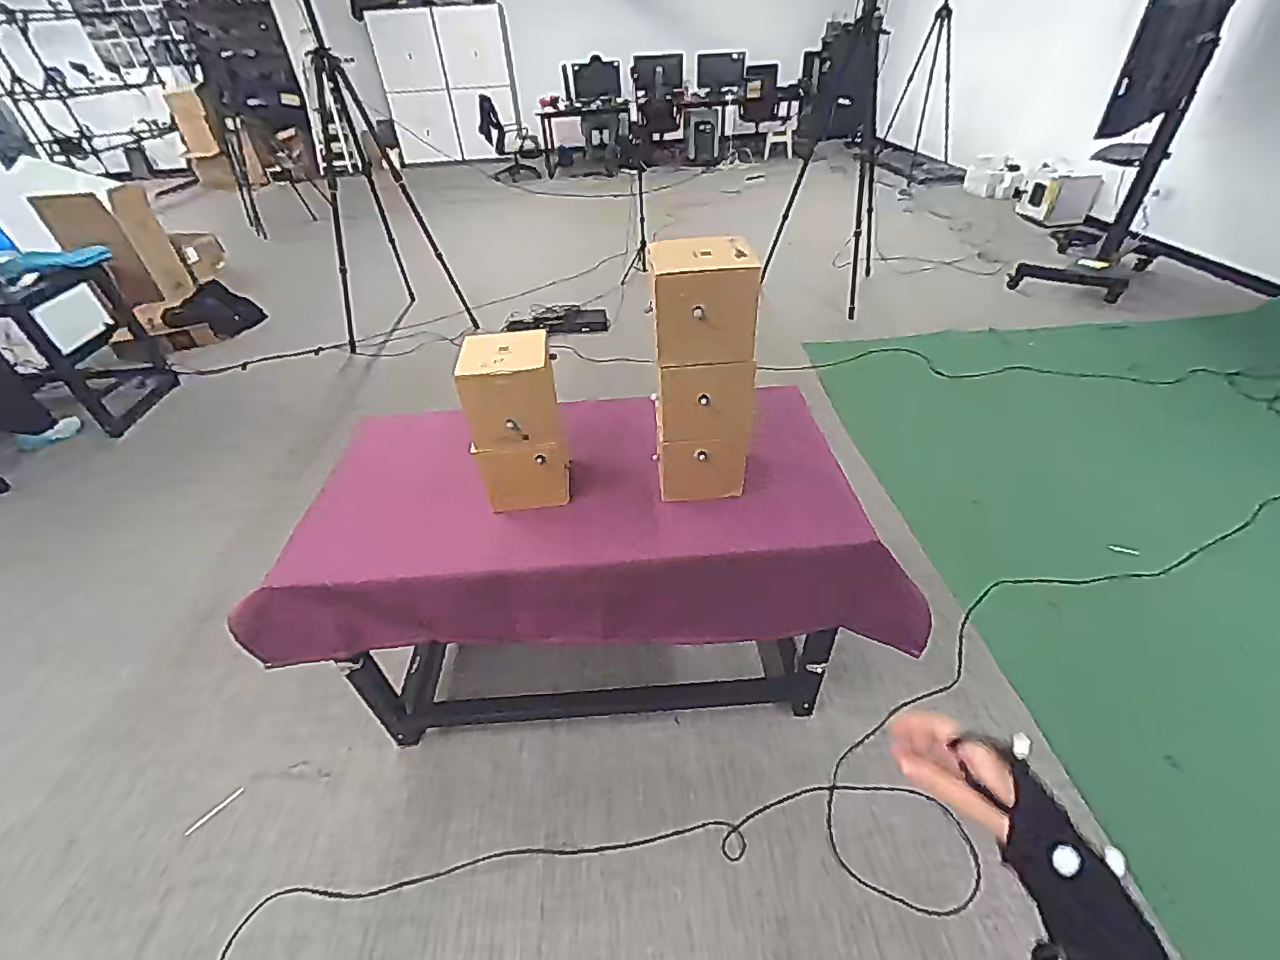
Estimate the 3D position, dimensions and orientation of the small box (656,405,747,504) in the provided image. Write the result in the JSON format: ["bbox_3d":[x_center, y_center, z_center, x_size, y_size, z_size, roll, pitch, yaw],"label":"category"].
[{"bbox_3d":[0.131,-0.060,1.186,0.179,0.176,0.168,-4,40,0],"label":"small box"}]

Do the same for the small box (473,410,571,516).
[{"bbox_3d":[-0.252,-0.037,1.196,0.179,0.176,0.168,-6,39,-4],"label":"small box"}]

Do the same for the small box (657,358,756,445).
[{"bbox_3d":[0.125,-0.185,1.080,0.179,0.176,0.168,-5,40,1],"label":"small box"}]

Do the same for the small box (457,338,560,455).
[{"bbox_3d":[-0.258,-0.171,1.100,0.168,0.176,0.179,-7,39,-3],"label":"small box"}]

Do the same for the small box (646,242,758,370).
[{"bbox_3d":[0.108,-0.311,0.975,0.179,0.176,0.168,-5,41,1],"label":"small box"}]
